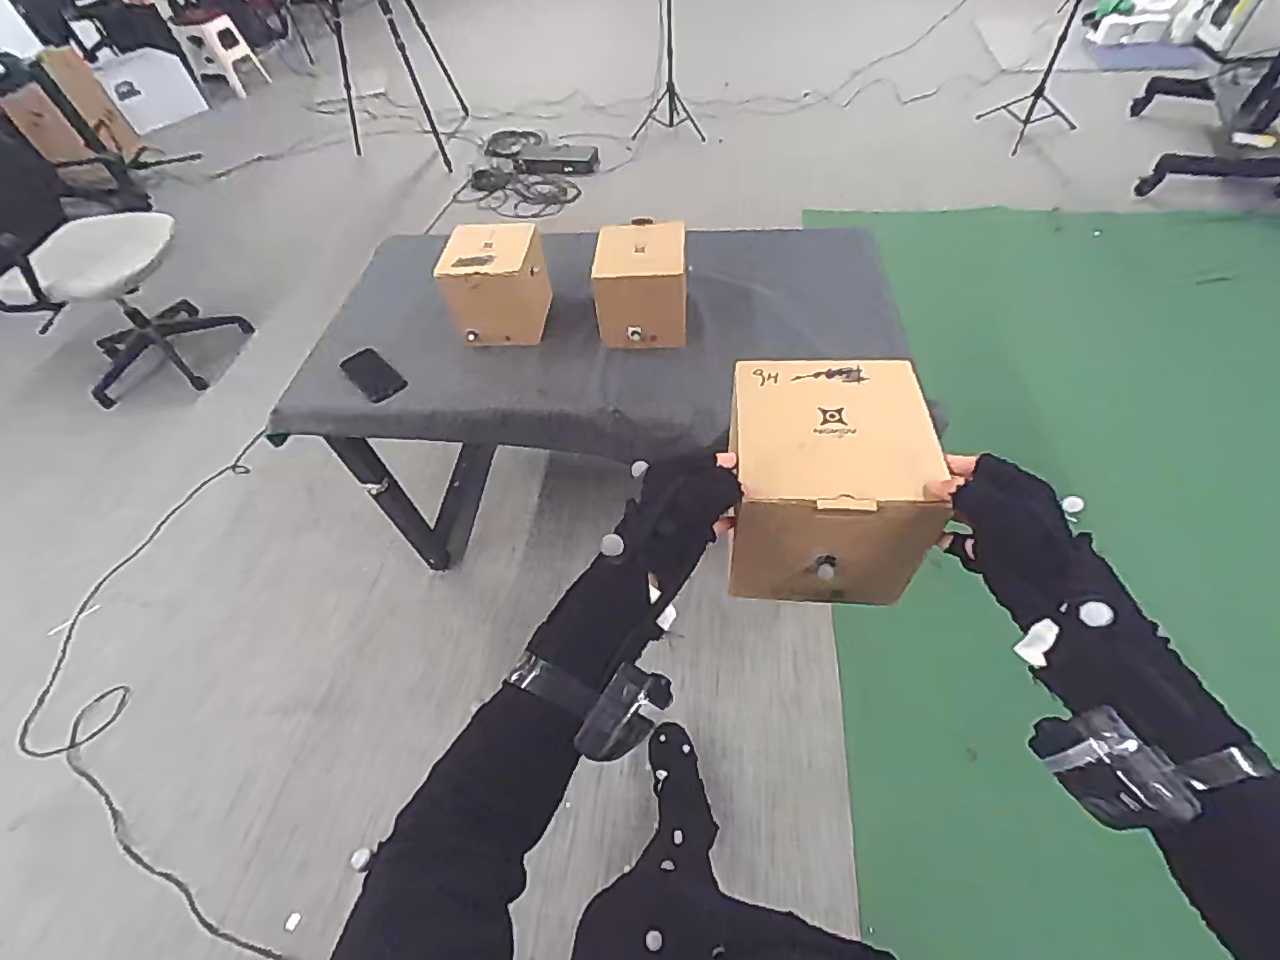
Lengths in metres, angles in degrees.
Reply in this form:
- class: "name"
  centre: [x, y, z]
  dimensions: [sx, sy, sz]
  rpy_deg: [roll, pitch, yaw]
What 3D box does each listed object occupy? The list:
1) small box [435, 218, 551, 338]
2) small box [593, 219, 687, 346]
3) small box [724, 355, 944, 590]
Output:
- class: "small box"
  centre: [-0.285, -0.403, 1.093]
  dimensions: [0.168, 0.176, 0.179]
  rpy_deg: [1, 53, 5]
- class: "small box"
  centre: [0.008, -0.385, 1.062]
  dimensions: [0.168, 0.176, 0.179]
  rpy_deg: [-1, 55, 6]
- class: "small box"
  centre: [0.173, -0.004, 0.542]
  dimensions: [0.168, 0.176, 0.179]
  rpy_deg: [2, 52, 7]
